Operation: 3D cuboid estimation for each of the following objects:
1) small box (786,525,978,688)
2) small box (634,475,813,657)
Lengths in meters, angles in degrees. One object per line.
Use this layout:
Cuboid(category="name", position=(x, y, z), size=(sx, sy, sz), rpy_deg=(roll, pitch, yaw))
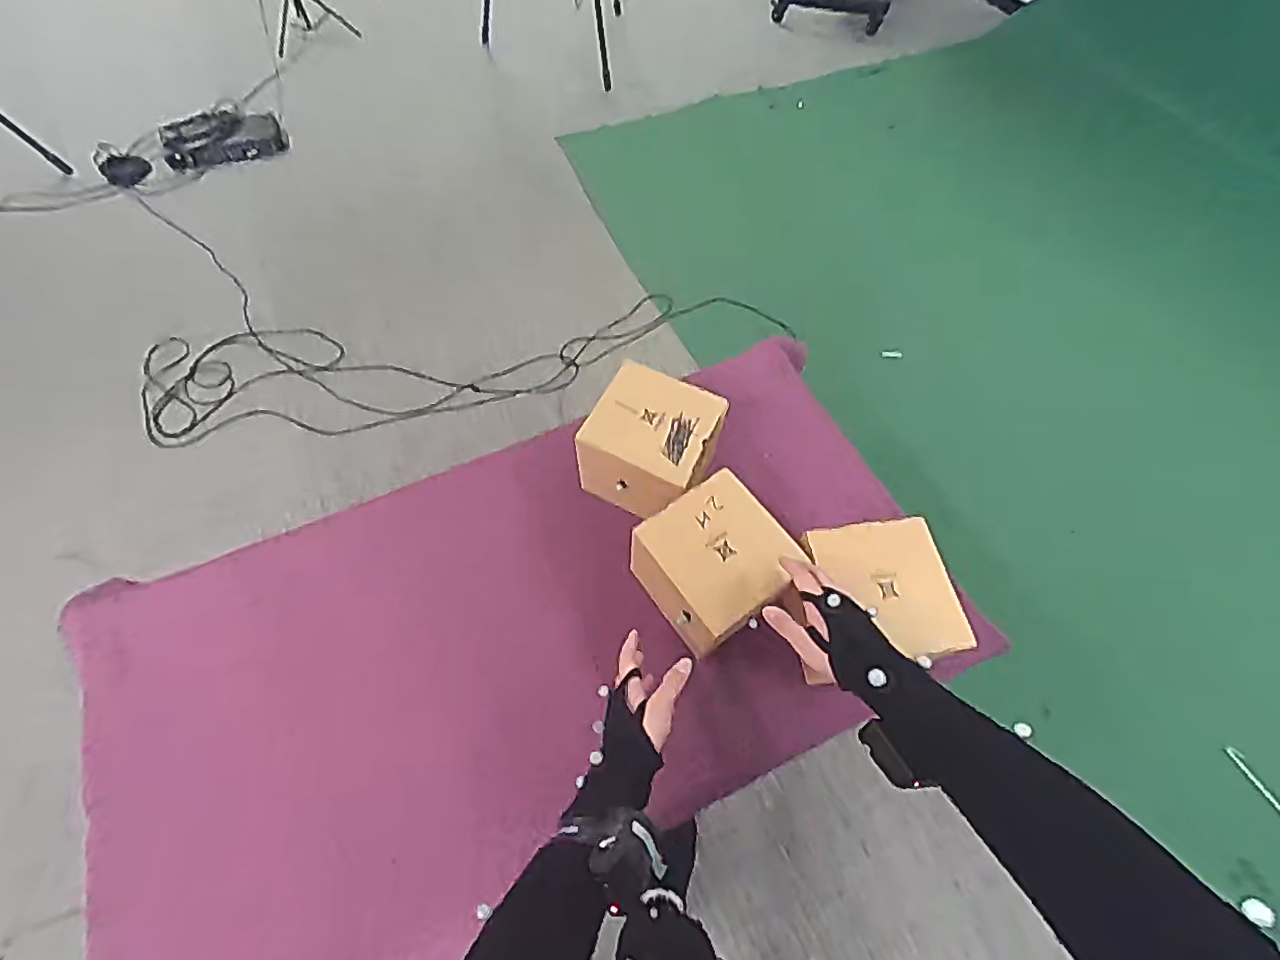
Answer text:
Cuboid(category="small box", position=(0.311, 0.181, 0.744), size=(0.168, 0.176, 0.179), rpy_deg=(-6, 61, -4))
Cuboid(category="small box", position=(0.106, 0.130, 0.765), size=(0.168, 0.176, 0.179), rpy_deg=(-31, 67, -17))
